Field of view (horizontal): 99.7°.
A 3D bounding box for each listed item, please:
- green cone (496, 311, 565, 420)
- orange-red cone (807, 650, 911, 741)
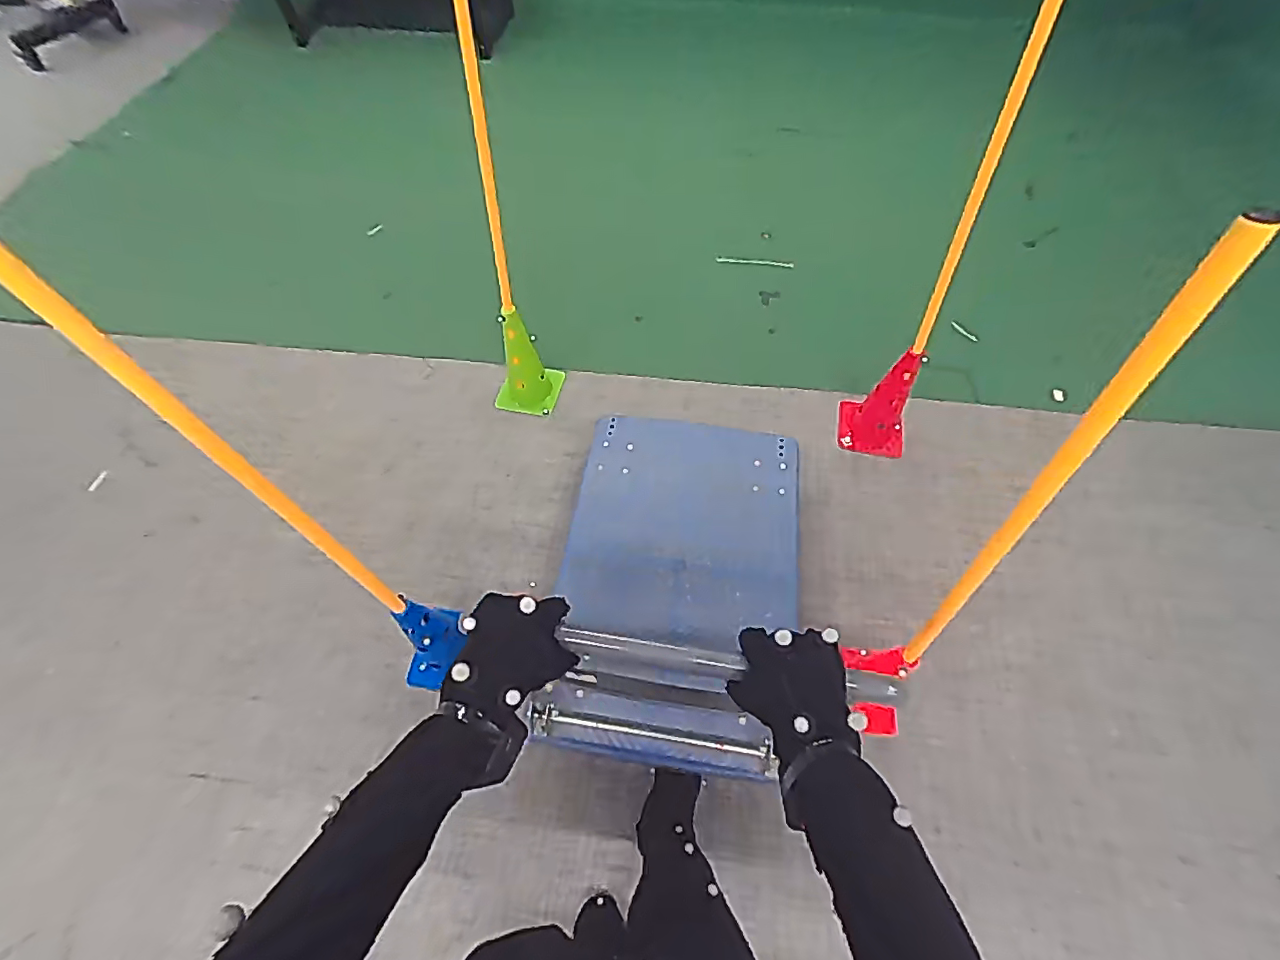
[{"bbox_3d":[-0.377,-0.384,1.712,0.202,0.368,0.200,9,59,7],"label":"green cone"},{"bbox_3d":[0.513,0.446,1.202,0.199,0.360,0.198,5,58,5],"label":"orange-red cone"}]
